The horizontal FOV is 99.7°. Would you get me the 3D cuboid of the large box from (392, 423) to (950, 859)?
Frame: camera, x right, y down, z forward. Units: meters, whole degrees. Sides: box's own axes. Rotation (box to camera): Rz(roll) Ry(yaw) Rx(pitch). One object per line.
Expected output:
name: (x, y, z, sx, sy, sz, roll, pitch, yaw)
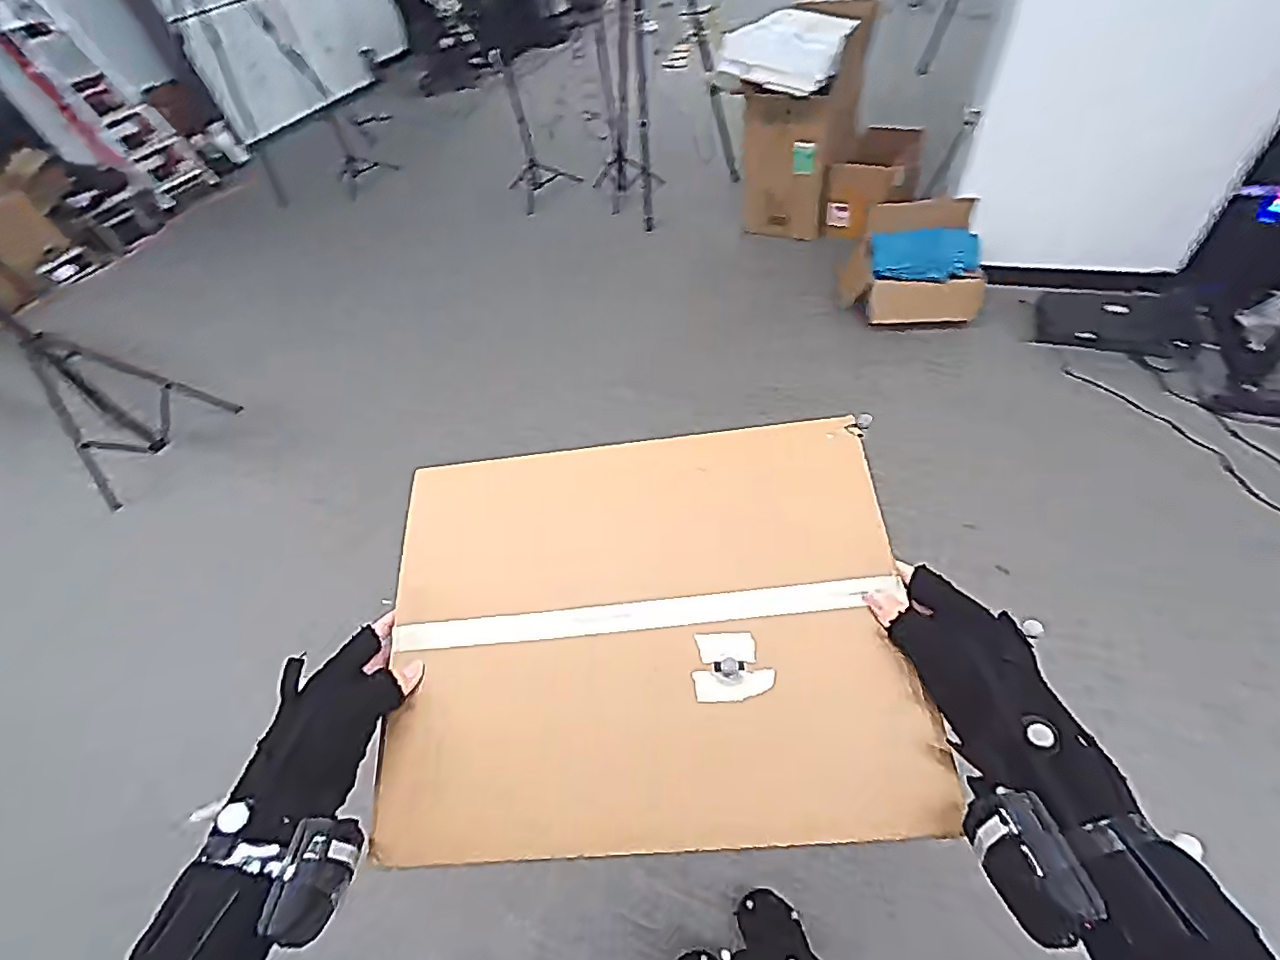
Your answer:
large box: (0.019, 0.175, 0.575, 0.408, 0.320, 0.320, -7, 64, 4)
